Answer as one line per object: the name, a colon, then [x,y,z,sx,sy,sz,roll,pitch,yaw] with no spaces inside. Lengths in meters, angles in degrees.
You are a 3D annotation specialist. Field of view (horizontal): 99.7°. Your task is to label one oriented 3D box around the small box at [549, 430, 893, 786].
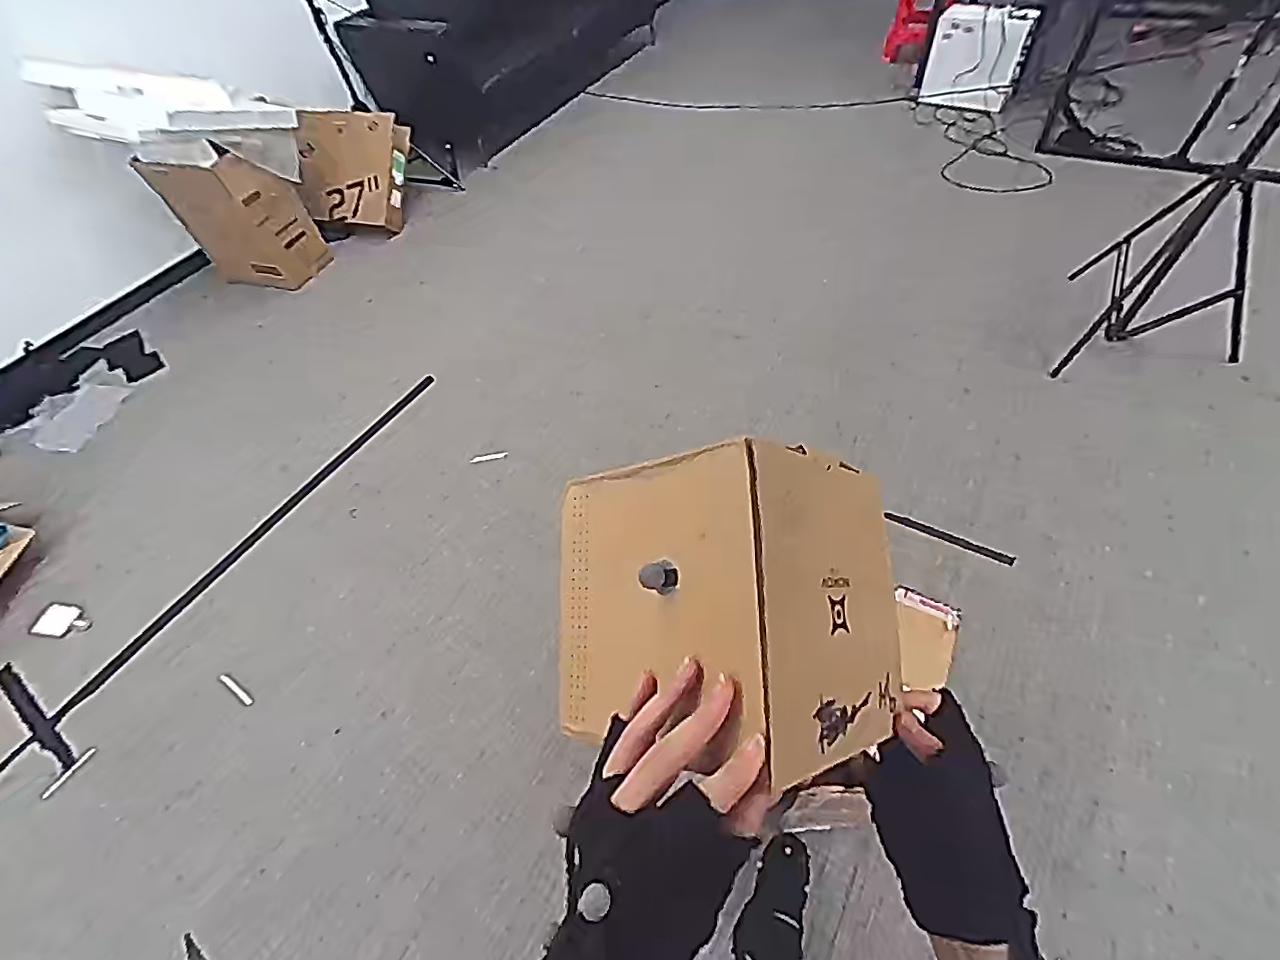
small box: [0.050,0.082,0.375,0.176,0.168,0.179,-13,73,44]
